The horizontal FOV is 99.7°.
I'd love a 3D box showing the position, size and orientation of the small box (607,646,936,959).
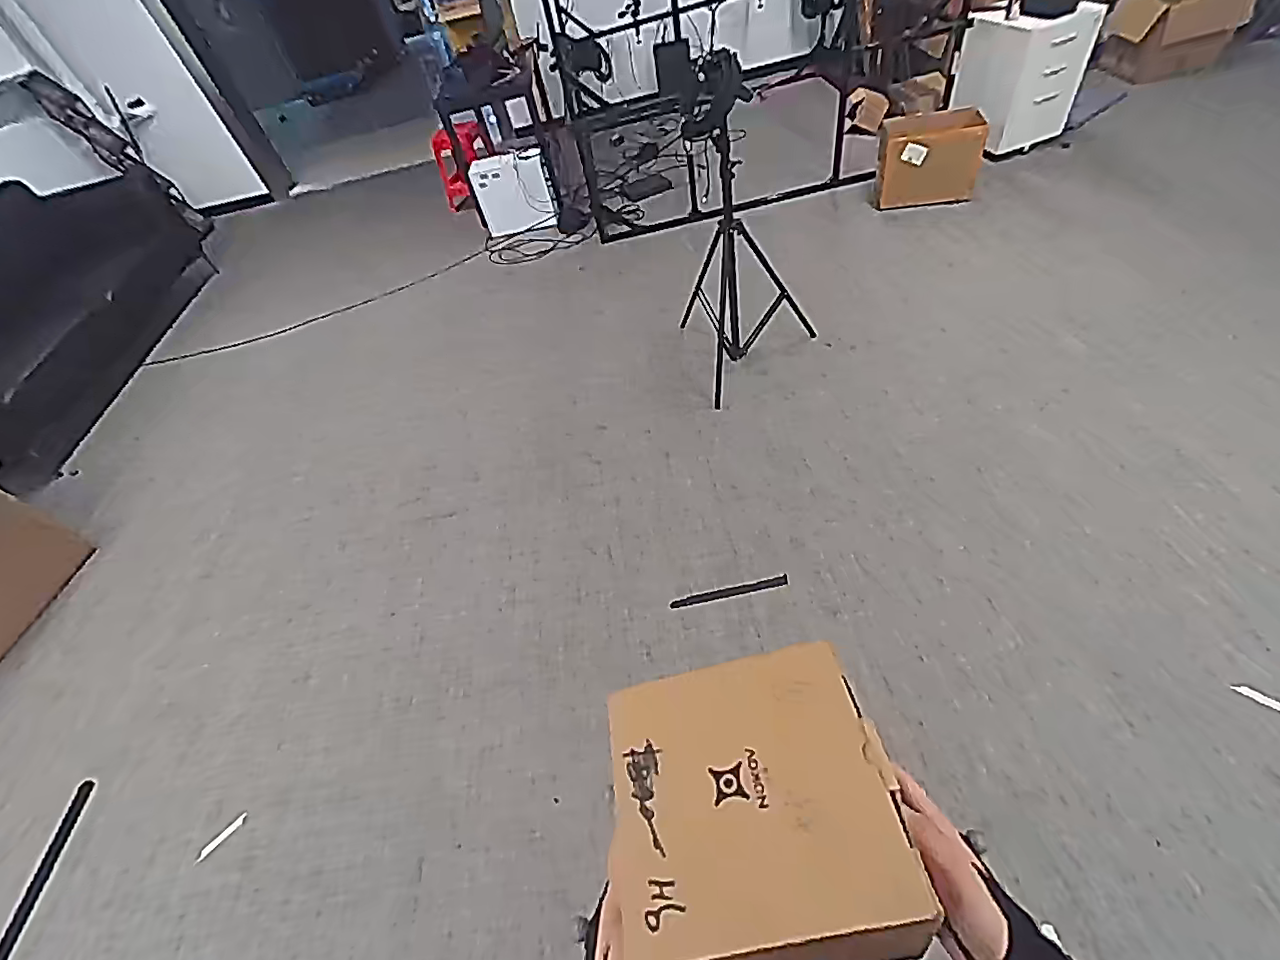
[{"bbox_3d":[0.085,0.254,0.401,0.179,0.176,0.168,-16,41,6],"label":"small box"}]
